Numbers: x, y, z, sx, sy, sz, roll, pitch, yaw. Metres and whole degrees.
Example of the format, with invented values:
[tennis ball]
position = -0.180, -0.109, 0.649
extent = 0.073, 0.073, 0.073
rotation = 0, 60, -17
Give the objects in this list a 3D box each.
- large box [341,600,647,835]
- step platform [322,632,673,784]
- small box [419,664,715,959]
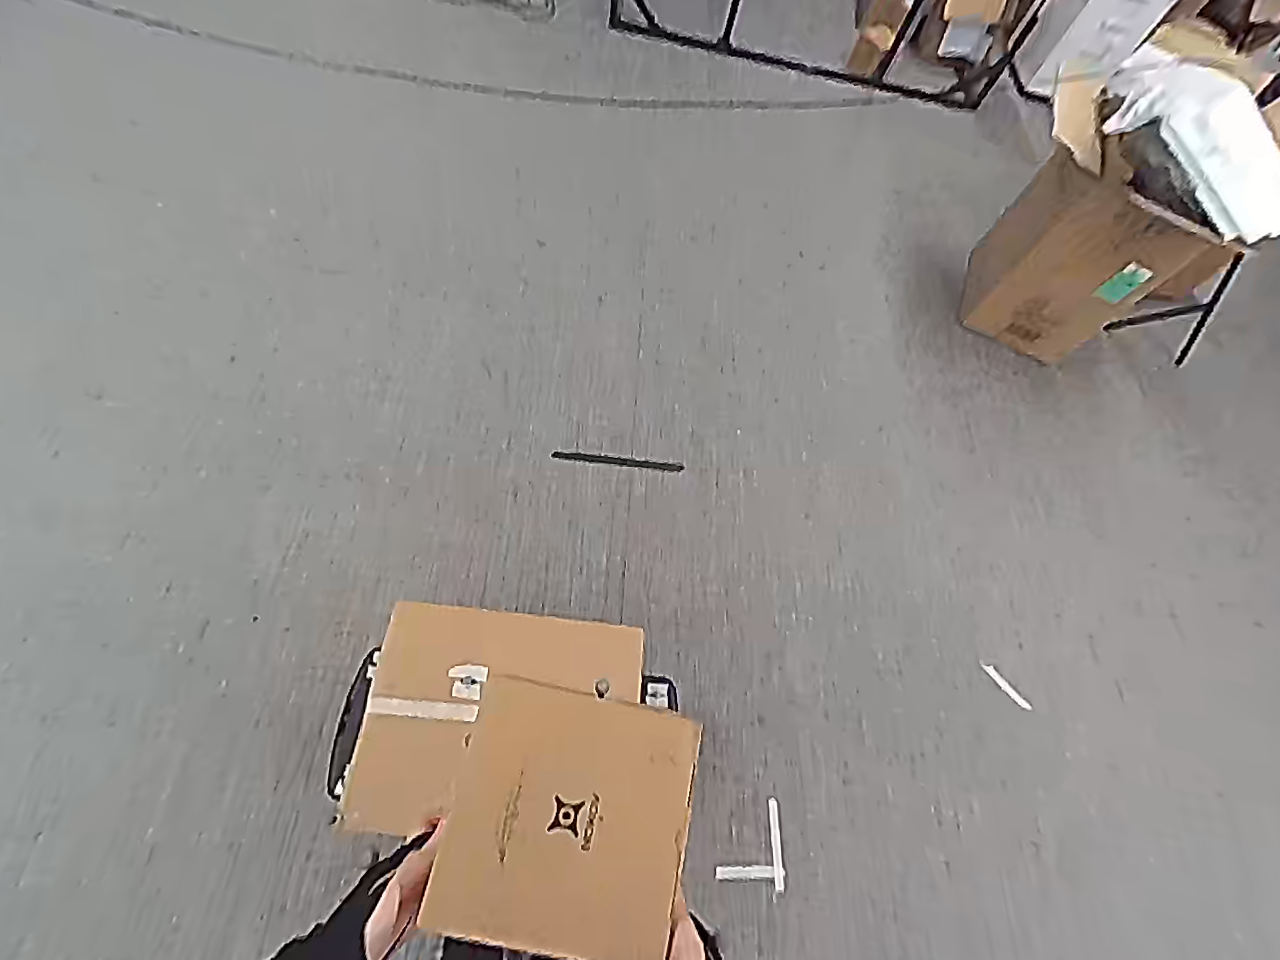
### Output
[large box]
position = -0.213, 0.414, 0.936
extent = 0.408, 0.320, 0.320
rotation = 8, 62, -5
[step platform]
position = -0.270, 0.532, 1.137
extent = 0.684, 0.204, 0.286
rotation = 13, 62, -3
[small box]
position = -0.054, 0.259, 0.458
extent = 0.179, 0.176, 0.168
rotation = 15, 69, -3
